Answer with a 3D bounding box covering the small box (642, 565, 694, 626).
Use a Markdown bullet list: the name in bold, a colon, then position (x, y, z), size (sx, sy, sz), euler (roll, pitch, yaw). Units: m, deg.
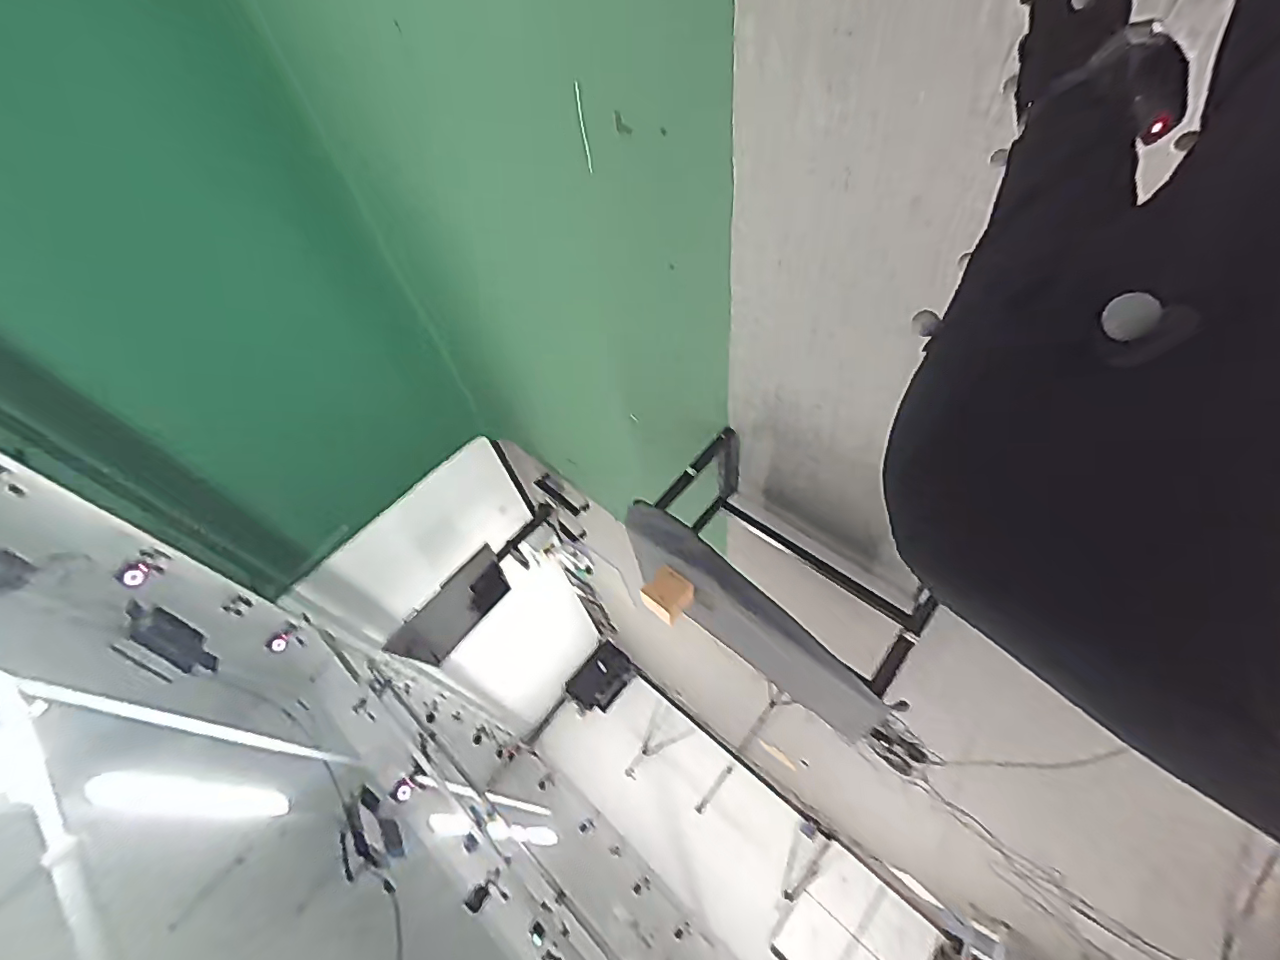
- **small box**: position (0.129, 0.509, 2.392), size (0.168, 0.176, 0.179), euler (33, 157, 25)
